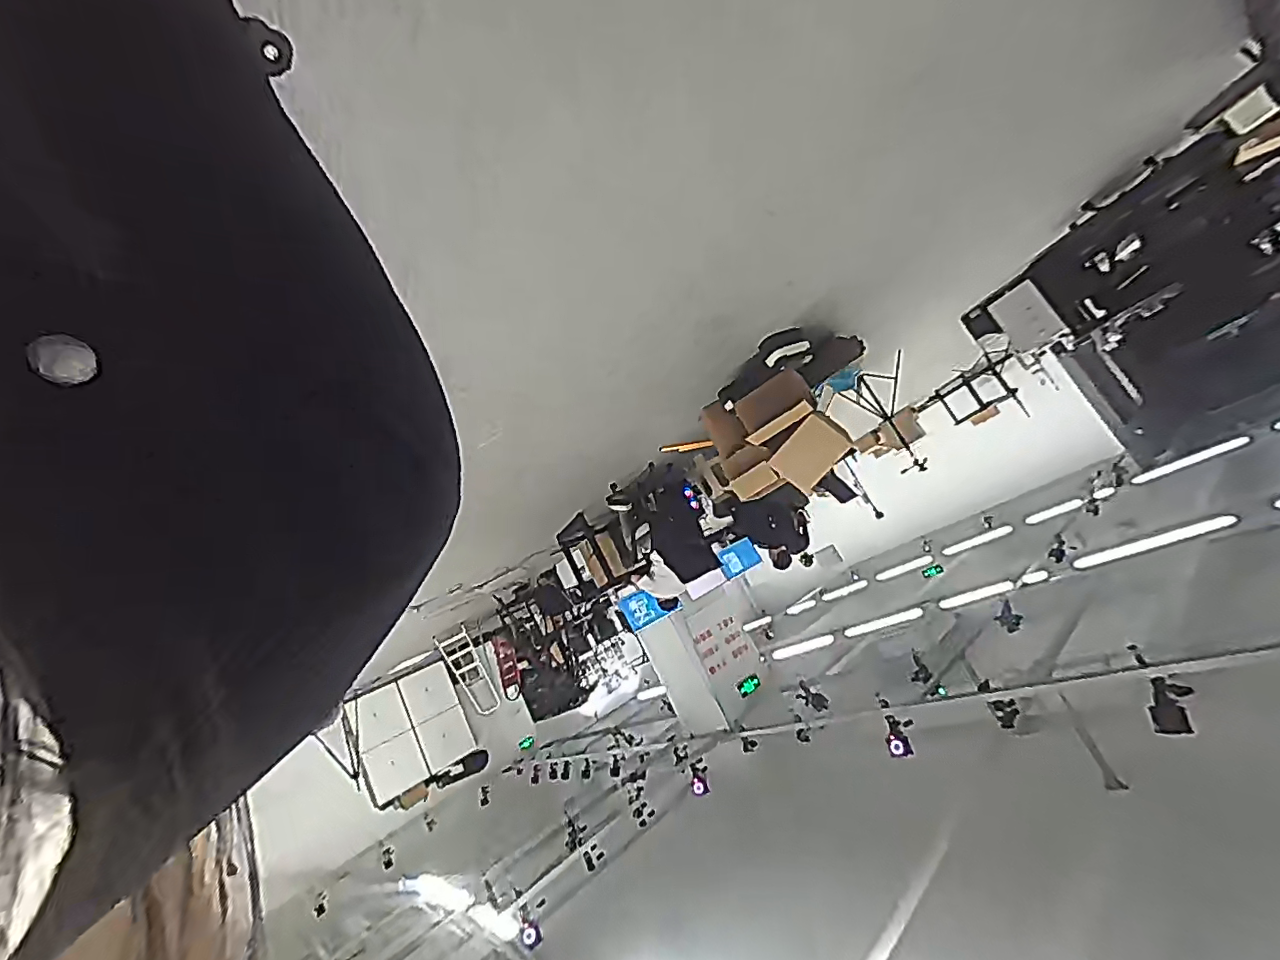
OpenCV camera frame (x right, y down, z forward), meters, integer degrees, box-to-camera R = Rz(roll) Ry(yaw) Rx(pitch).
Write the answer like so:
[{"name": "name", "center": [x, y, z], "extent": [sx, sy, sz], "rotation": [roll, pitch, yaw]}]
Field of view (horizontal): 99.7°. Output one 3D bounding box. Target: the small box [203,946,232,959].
[{"name": "small box", "center": [-1.351, 1.588, 1.655], "extent": [0.168, 0.176, 0.179], "rotation": [-22, 164, -34]}]
